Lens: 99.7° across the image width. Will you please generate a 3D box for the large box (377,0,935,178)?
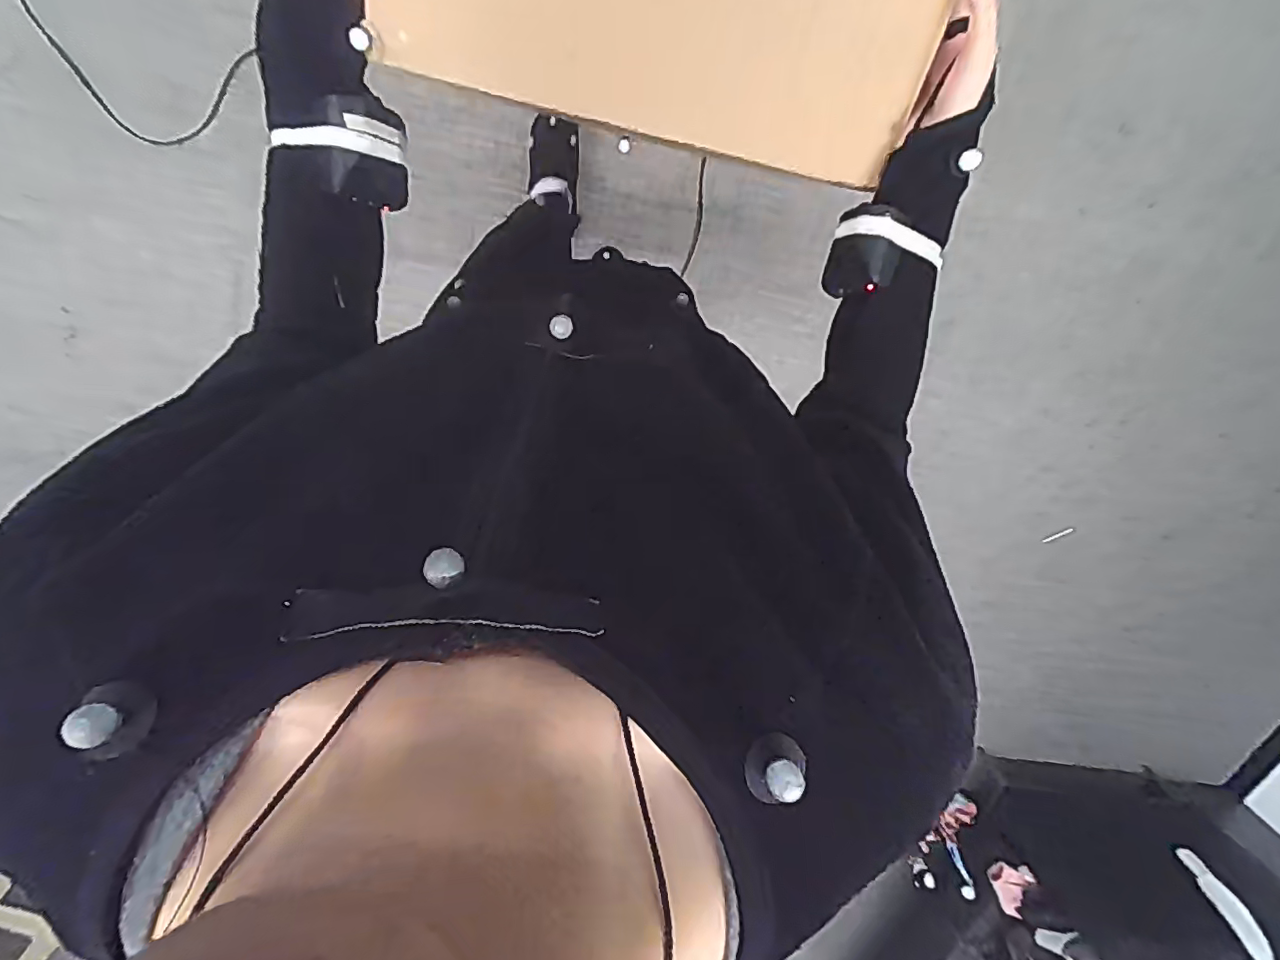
[{"bbox_3d":[0.020,-0.486,0.474,0.408,0.320,0.320,6,121,-12],"label":"large box"}]
